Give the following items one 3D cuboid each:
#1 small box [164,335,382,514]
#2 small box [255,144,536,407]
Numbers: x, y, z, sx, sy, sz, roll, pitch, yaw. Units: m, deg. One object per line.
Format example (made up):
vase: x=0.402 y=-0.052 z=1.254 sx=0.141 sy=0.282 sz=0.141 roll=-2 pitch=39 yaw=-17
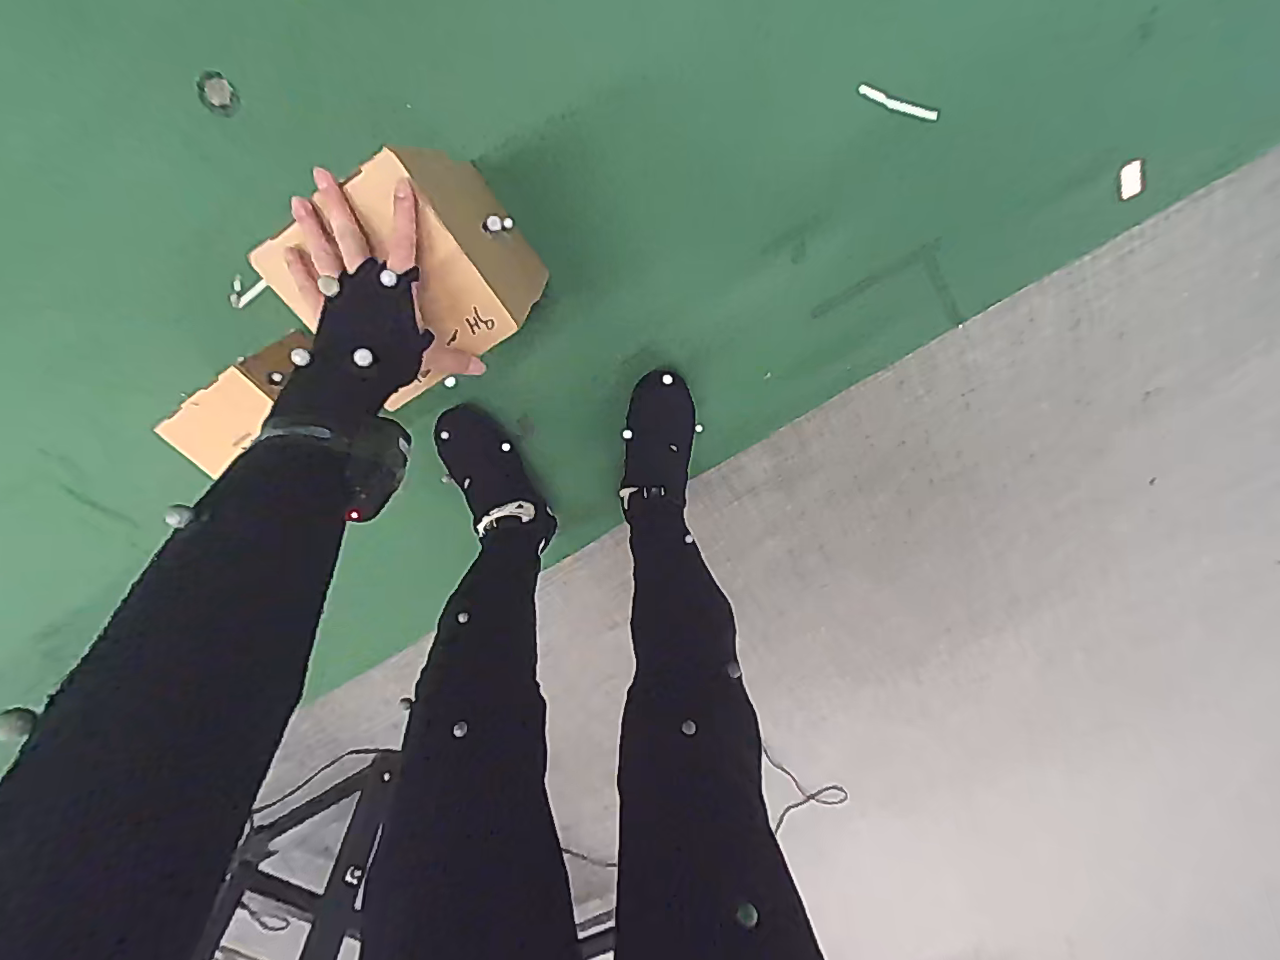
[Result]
small box: x=-0.529 y=-0.088 z=0.810 sx=0.168 sy=0.176 sz=0.179 roll=-30 pitch=117 yaw=15
small box: x=-0.228 y=-0.211 z=0.559 sx=0.168 sy=0.176 sz=0.179 roll=-28 pitch=118 yaw=13
